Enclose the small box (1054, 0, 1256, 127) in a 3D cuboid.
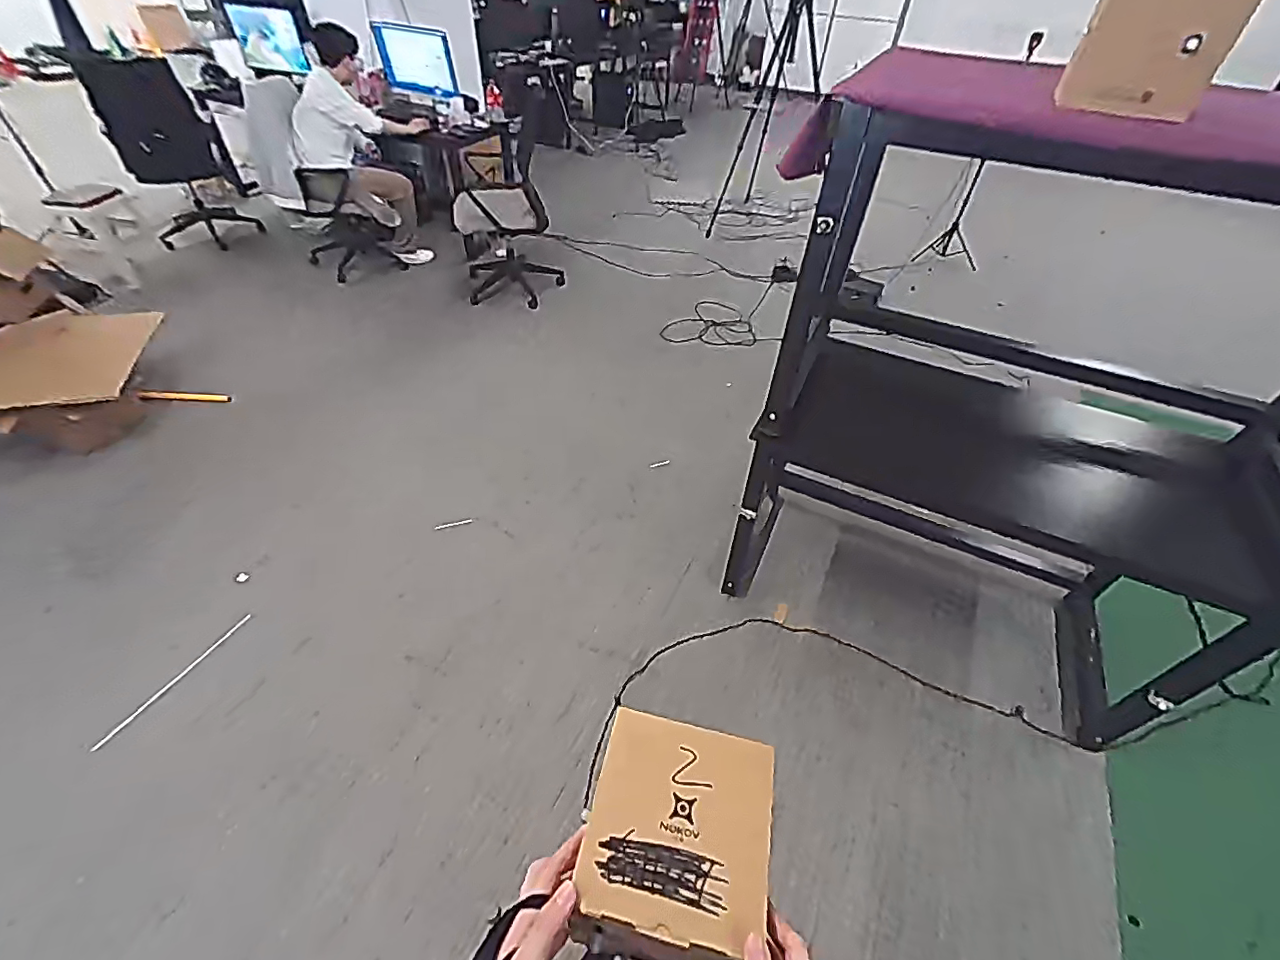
[{"bbox_3d":[0.755,-0.645,0.807,0.168,0.176,0.179,23,46,18],"label":"small box"}]
